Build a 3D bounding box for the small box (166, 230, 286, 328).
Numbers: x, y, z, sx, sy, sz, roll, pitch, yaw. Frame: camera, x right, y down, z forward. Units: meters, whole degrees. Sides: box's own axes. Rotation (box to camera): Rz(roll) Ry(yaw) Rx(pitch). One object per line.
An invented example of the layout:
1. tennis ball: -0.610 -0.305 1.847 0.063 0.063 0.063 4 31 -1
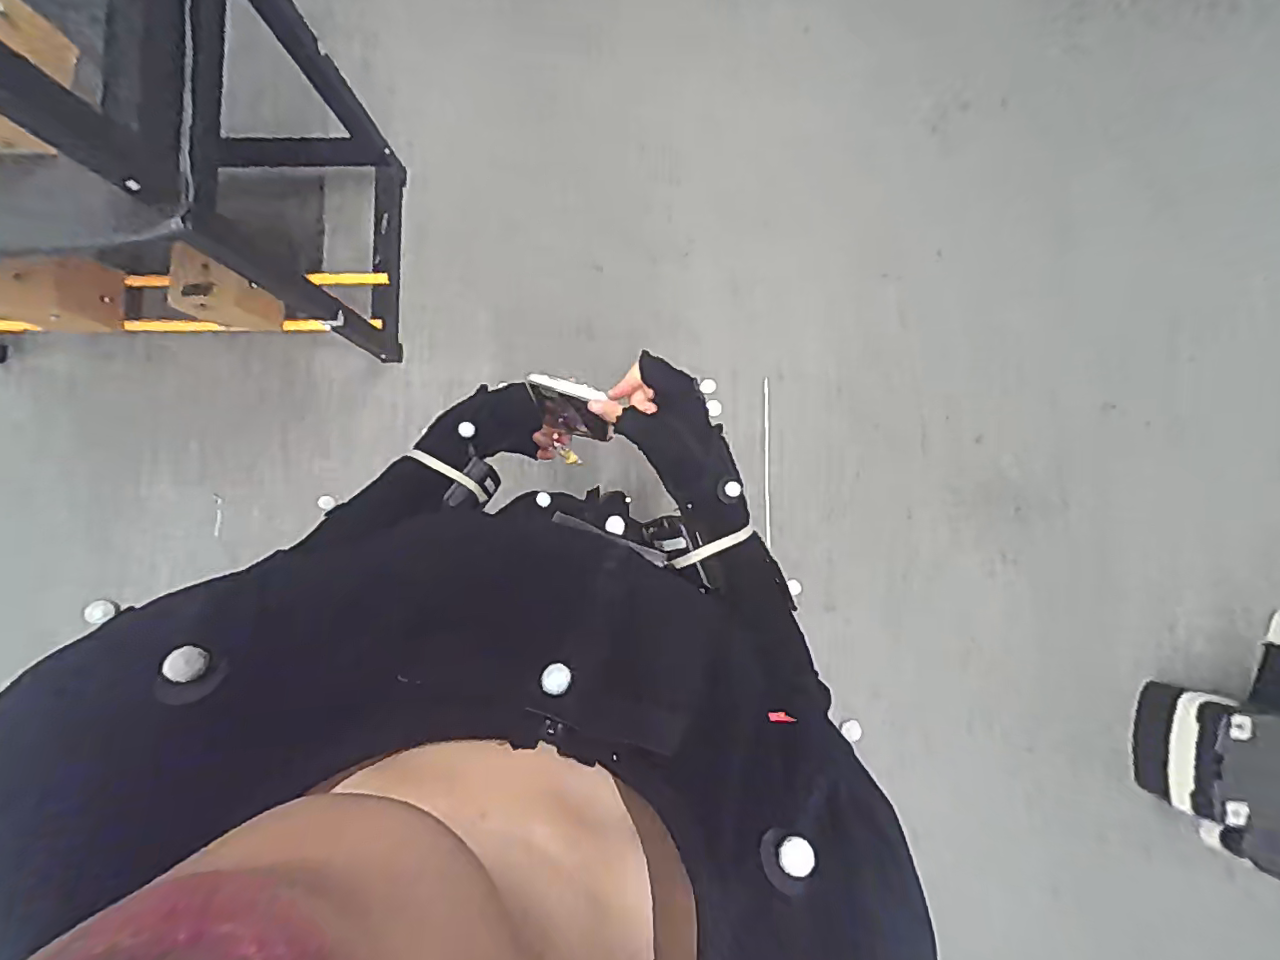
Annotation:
1. small box: -1.013 -0.488 1.336 0.168 0.176 0.179 3 87 0
